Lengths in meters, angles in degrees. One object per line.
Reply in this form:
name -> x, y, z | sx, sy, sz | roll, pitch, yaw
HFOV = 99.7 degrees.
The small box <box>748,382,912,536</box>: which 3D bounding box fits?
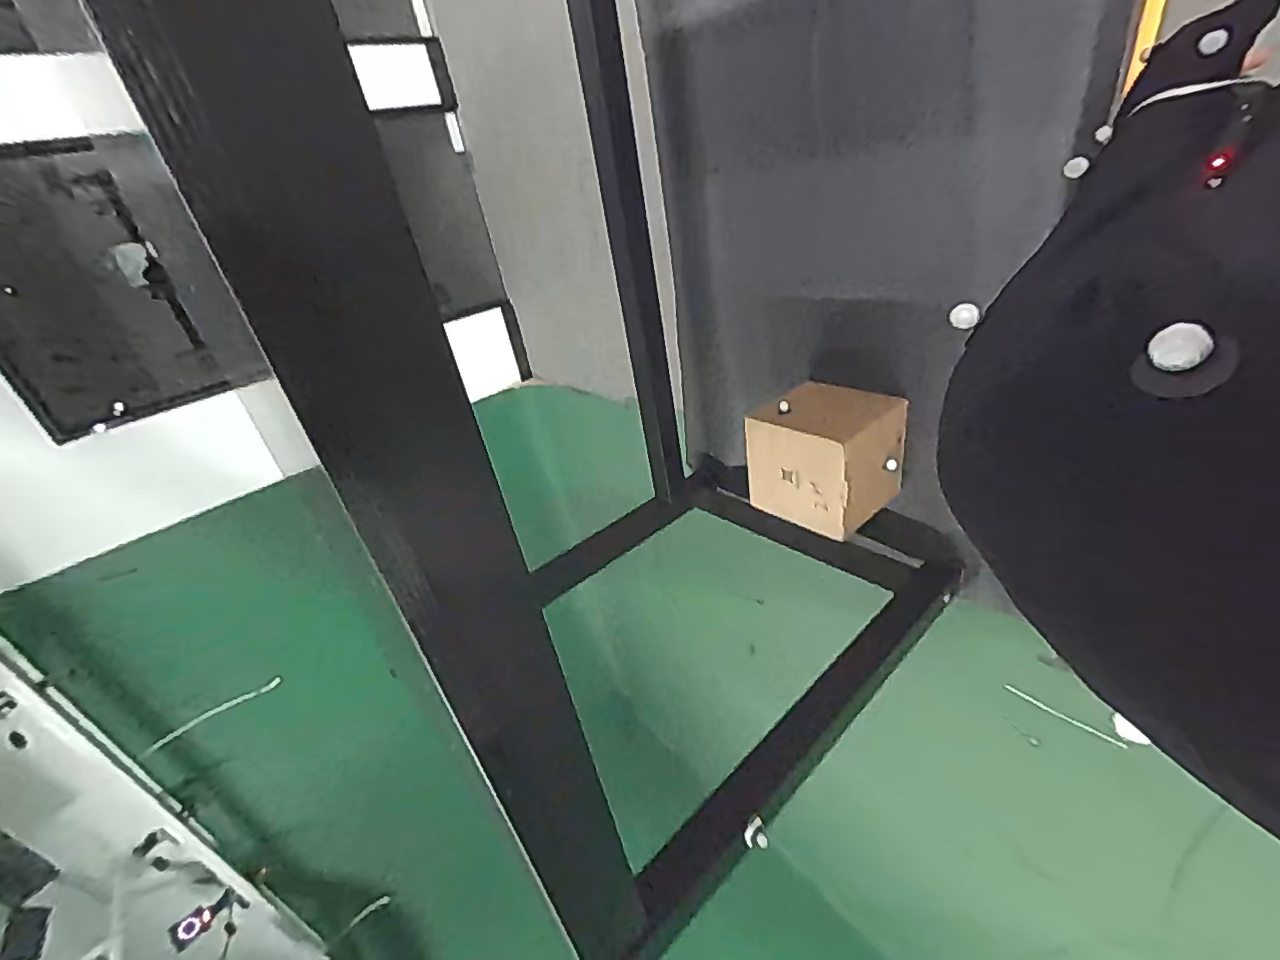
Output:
small box -> 0.294, -0.044, 0.850 | 0.179, 0.176, 0.168 | 24, 135, 46
